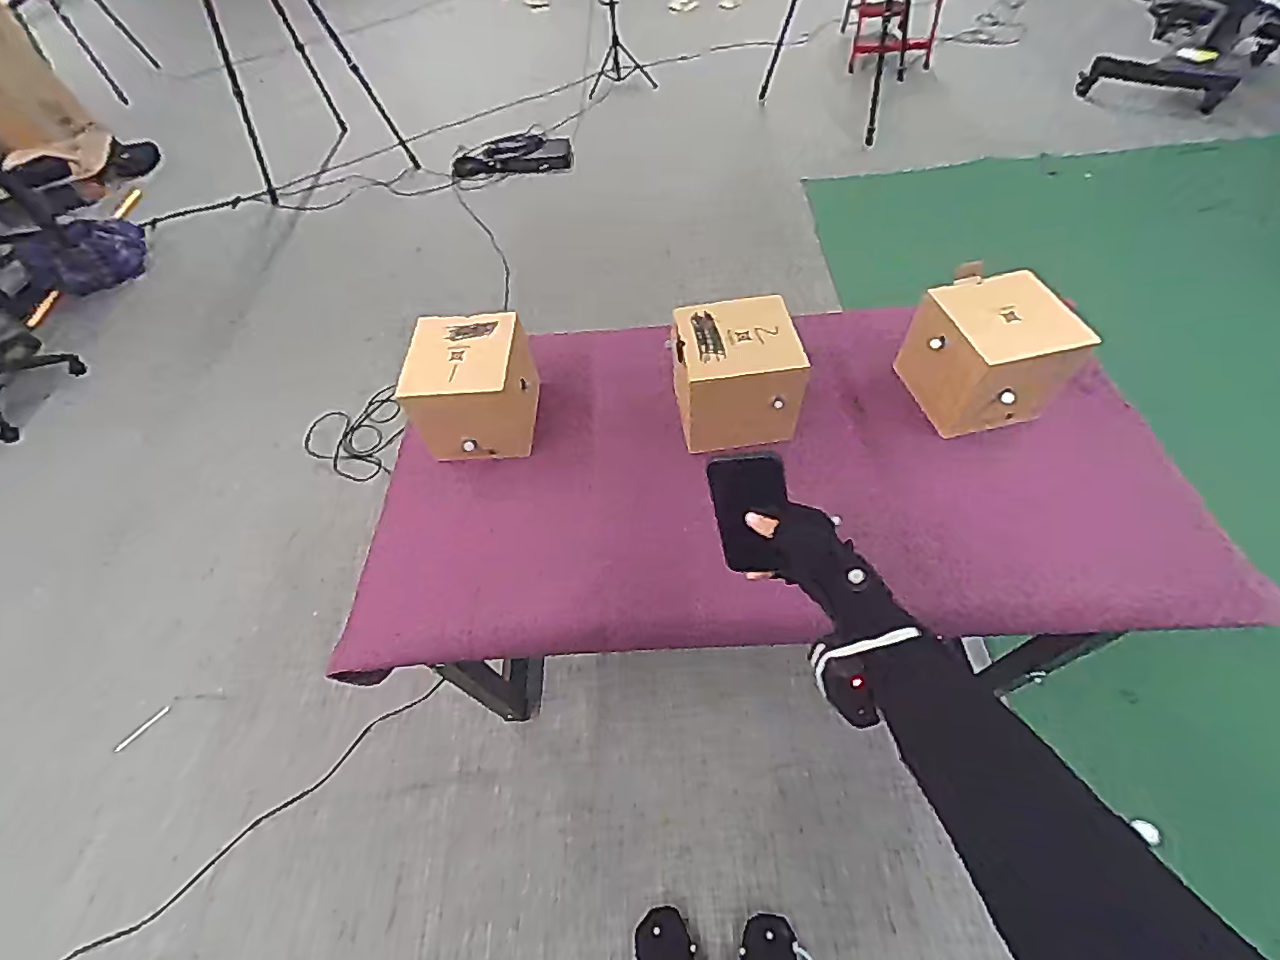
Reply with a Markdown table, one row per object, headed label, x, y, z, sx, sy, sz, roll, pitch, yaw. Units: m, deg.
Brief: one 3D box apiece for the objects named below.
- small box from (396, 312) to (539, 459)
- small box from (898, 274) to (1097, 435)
| label | x | y | z | sx | sy | sz | roll | pitch | yaw |
| --- | --- | --- | --- | --- | --- | --- | --- | --- | --- |
| small box | -0.271 | -0.153 | 0.896 | 0.168 | 0.176 | 0.179 | -2 | 57 | 4 |
| small box | 0.541 | -0.188 | 0.850 | 0.168 | 0.176 | 0.179 | -12 | 55 | -2 |
